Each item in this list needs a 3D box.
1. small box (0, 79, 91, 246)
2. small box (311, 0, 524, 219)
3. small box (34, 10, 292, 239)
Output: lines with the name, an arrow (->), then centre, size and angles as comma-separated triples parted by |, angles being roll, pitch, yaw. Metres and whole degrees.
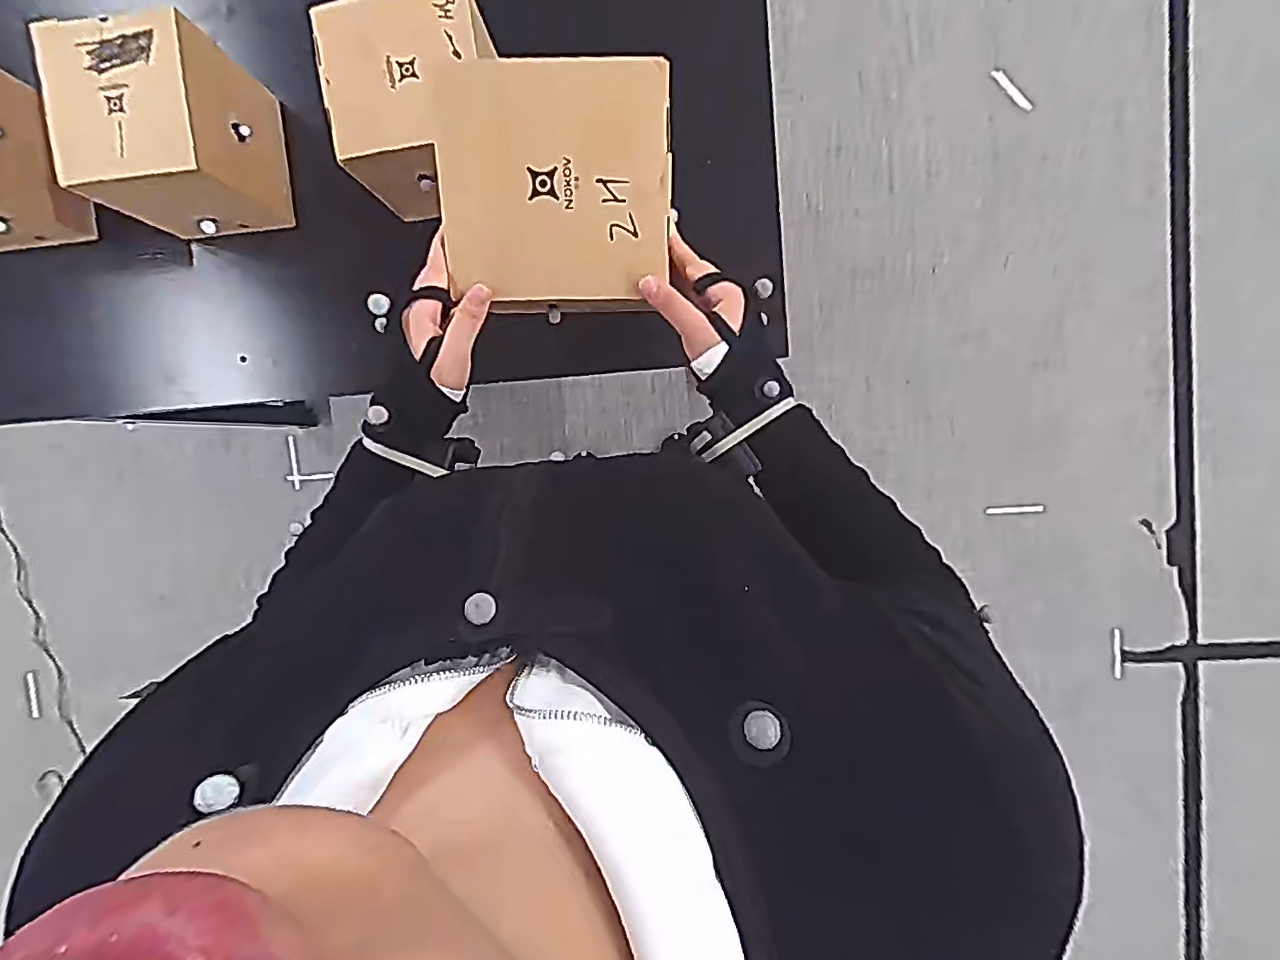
small box -> -0.864, -0.415, 0.688 | 0.168, 0.176, 0.179 | -6, 93, 1
small box -> -0.260, -0.447, 0.670 | 0.179, 0.176, 0.168 | -9, 94, 3
small box -> -0.577, -0.428, 0.679 | 0.168, 0.176, 0.179 | -5, 94, 2
